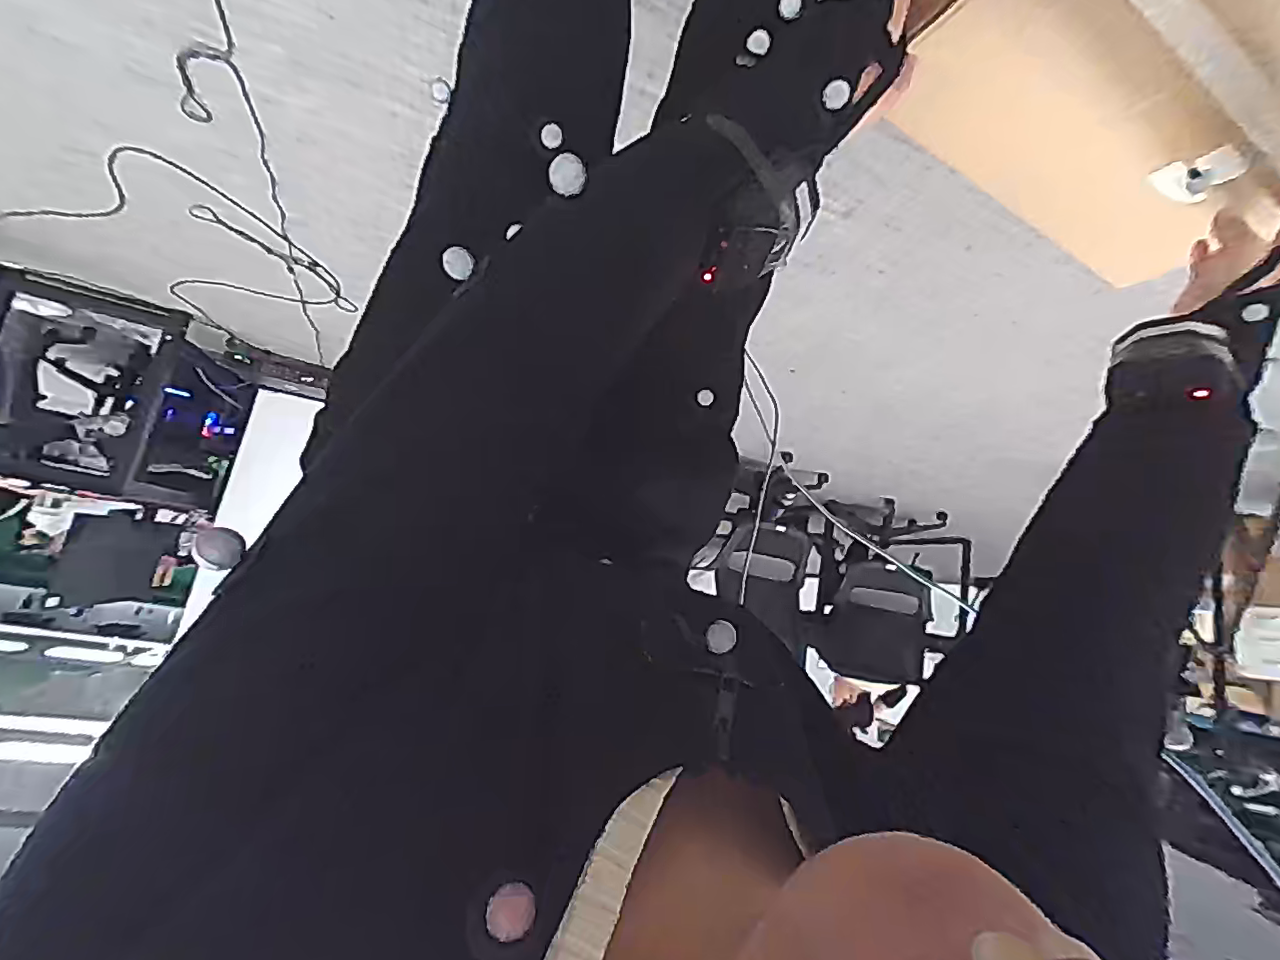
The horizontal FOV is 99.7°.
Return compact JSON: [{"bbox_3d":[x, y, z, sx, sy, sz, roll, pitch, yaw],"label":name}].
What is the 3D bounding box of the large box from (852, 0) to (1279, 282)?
[{"bbox_3d":[0.424,-0.417,0.400,0.408,0.320,0.320,13,169,-25],"label":"large box"}]
